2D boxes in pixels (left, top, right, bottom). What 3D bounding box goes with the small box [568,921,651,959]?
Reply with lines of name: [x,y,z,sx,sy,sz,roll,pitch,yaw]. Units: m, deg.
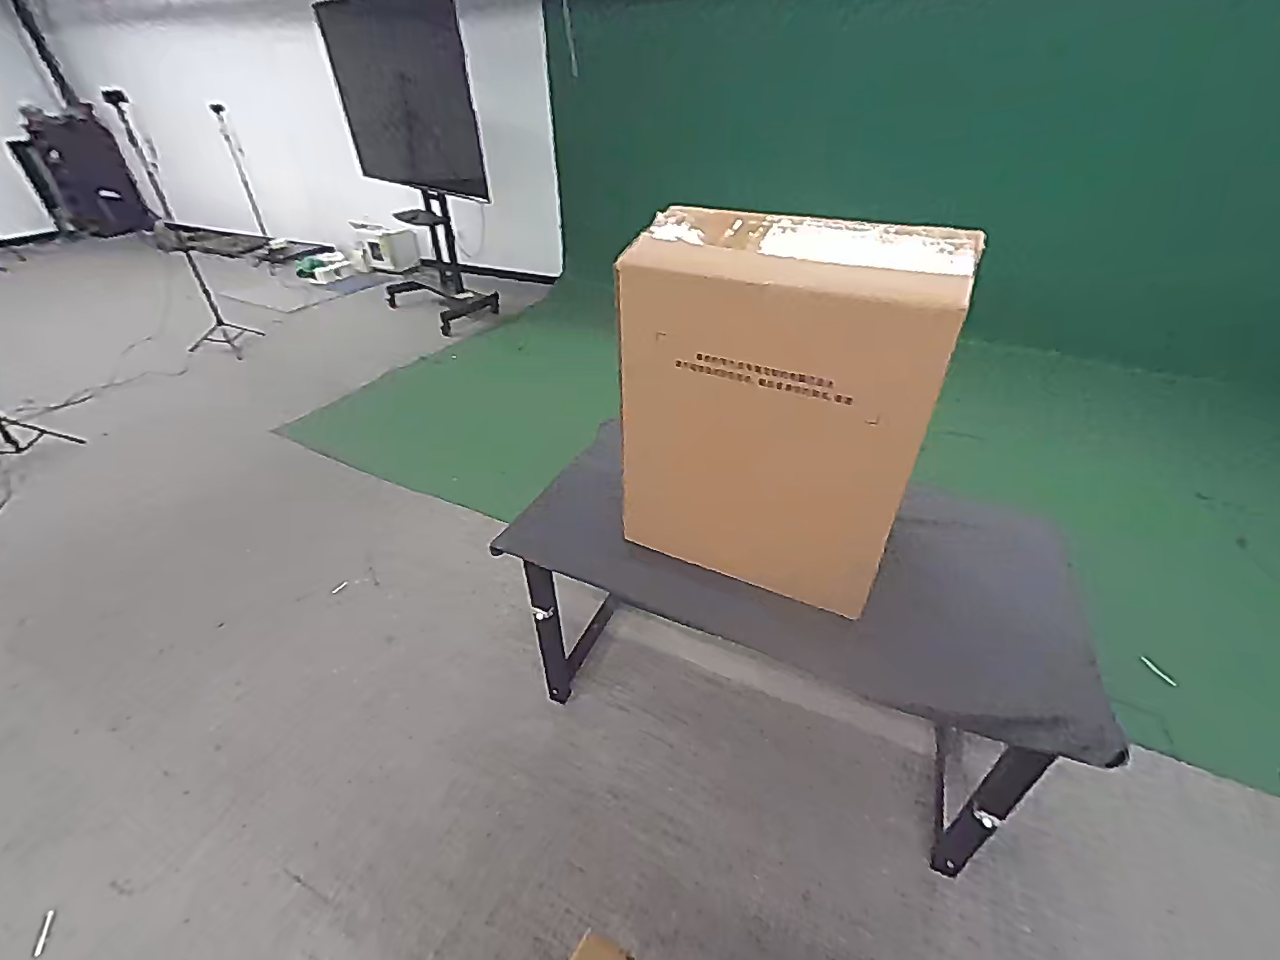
small box: [-0.043,0.641,0.587,0.168,0.176,0.179,27,70,17]
